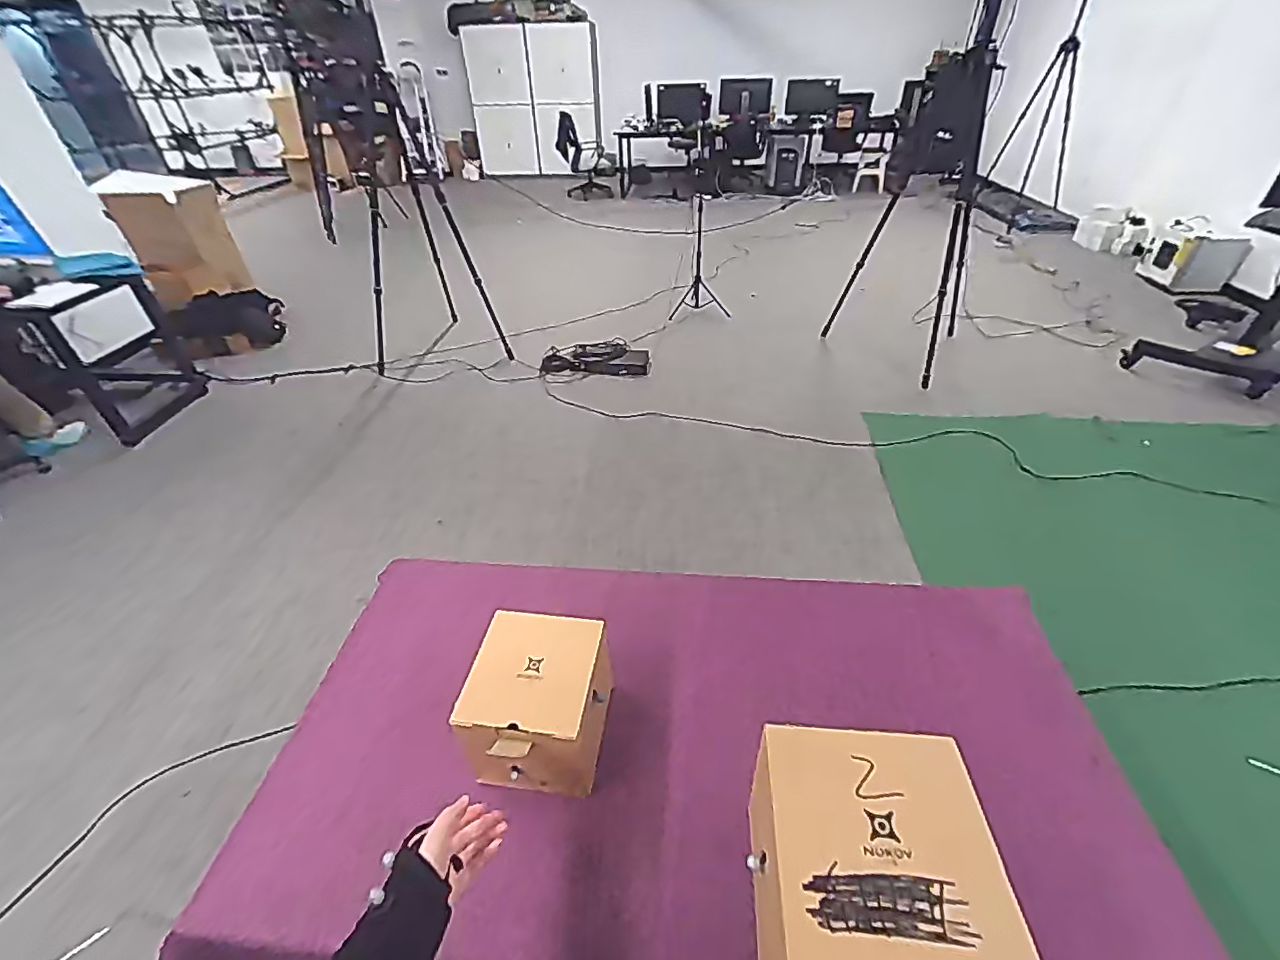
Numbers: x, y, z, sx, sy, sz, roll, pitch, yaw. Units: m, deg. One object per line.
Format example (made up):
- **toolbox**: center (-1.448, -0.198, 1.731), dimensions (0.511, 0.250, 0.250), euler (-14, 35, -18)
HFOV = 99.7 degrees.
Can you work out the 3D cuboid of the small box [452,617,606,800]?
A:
- **small box**: center (-0.146, 0.328, 0.785), dimensions (0.168, 0.176, 0.179), euler (4, 39, 7)
